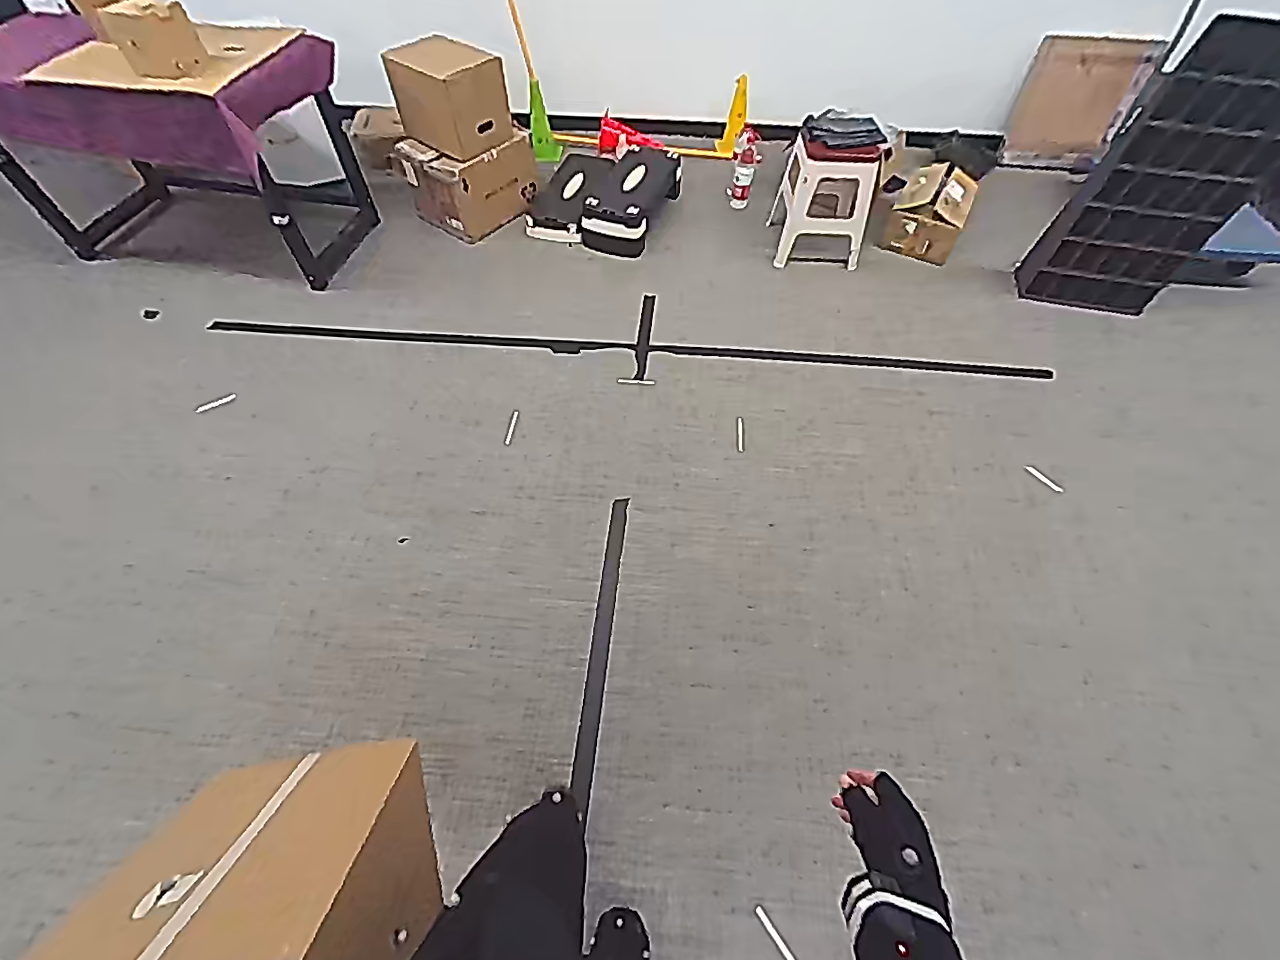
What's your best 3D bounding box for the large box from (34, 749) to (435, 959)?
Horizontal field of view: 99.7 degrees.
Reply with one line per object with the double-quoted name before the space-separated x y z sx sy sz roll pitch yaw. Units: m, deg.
"large box" -0.489 0.631 0.713 0.320 0.408 0.320 -8 95 -6
